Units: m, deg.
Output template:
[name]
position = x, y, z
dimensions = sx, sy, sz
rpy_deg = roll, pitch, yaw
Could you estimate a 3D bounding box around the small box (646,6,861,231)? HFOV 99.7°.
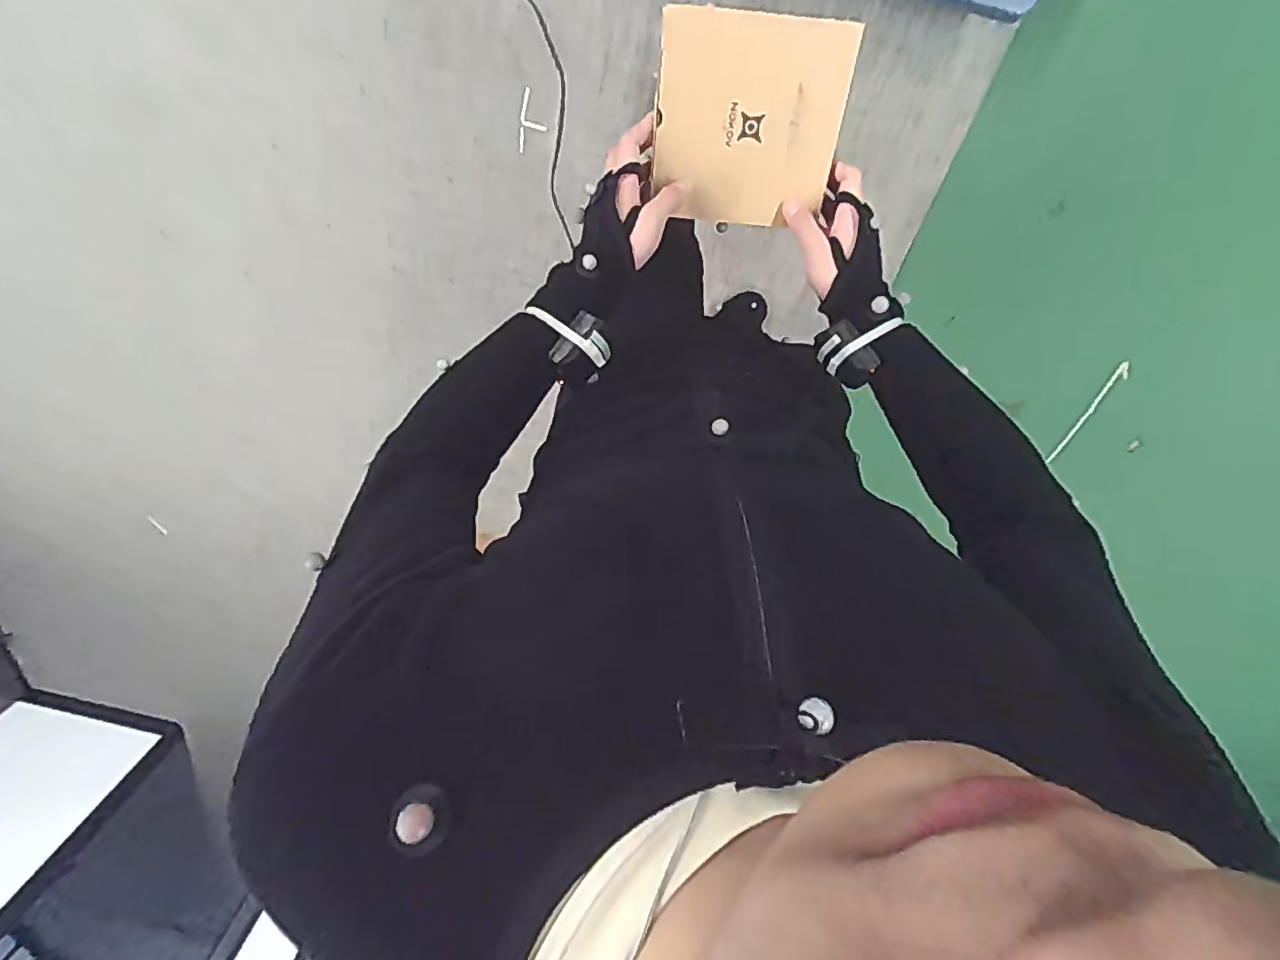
[small box]
position = 0.102, -0.373, 0.577
dimensions = 0.179, 0.176, 0.168
rpy_deg = 5, 123, -1
